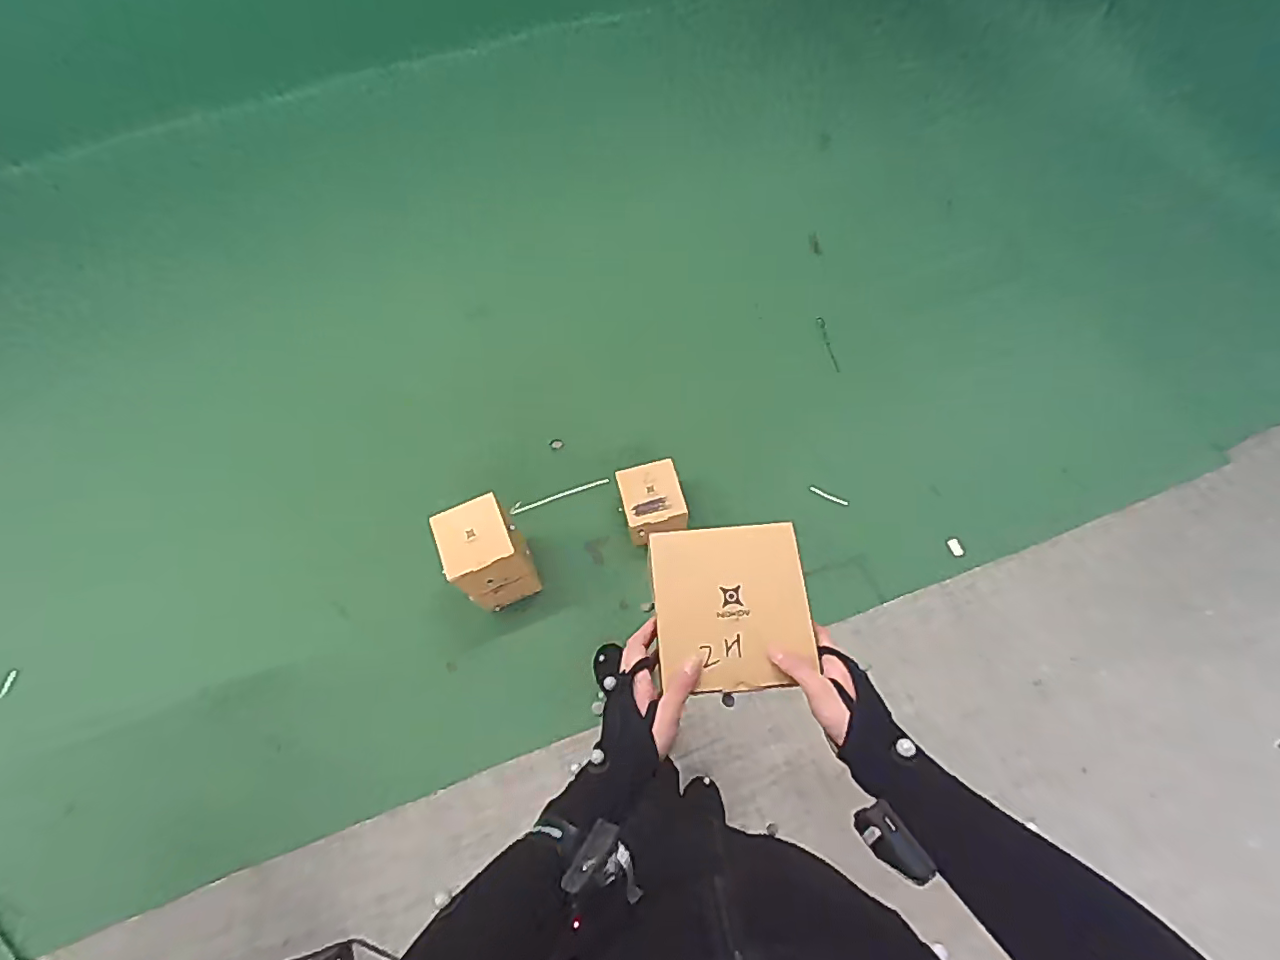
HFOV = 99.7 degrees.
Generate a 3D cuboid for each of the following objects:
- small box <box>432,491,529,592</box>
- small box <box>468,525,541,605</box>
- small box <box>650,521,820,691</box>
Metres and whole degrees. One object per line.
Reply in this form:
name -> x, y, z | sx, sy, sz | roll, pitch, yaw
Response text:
small box -> -0.396, 0.160, 1.361 | 0.168, 0.176, 0.179 | -23, 67, -8
small box -> -0.389, 0.234, 1.506 | 0.168, 0.176, 0.179 | -22, 66, -7
small box -> 0.100, 0.159, 0.657 | 0.168, 0.176, 0.179 | -4, 69, -1
